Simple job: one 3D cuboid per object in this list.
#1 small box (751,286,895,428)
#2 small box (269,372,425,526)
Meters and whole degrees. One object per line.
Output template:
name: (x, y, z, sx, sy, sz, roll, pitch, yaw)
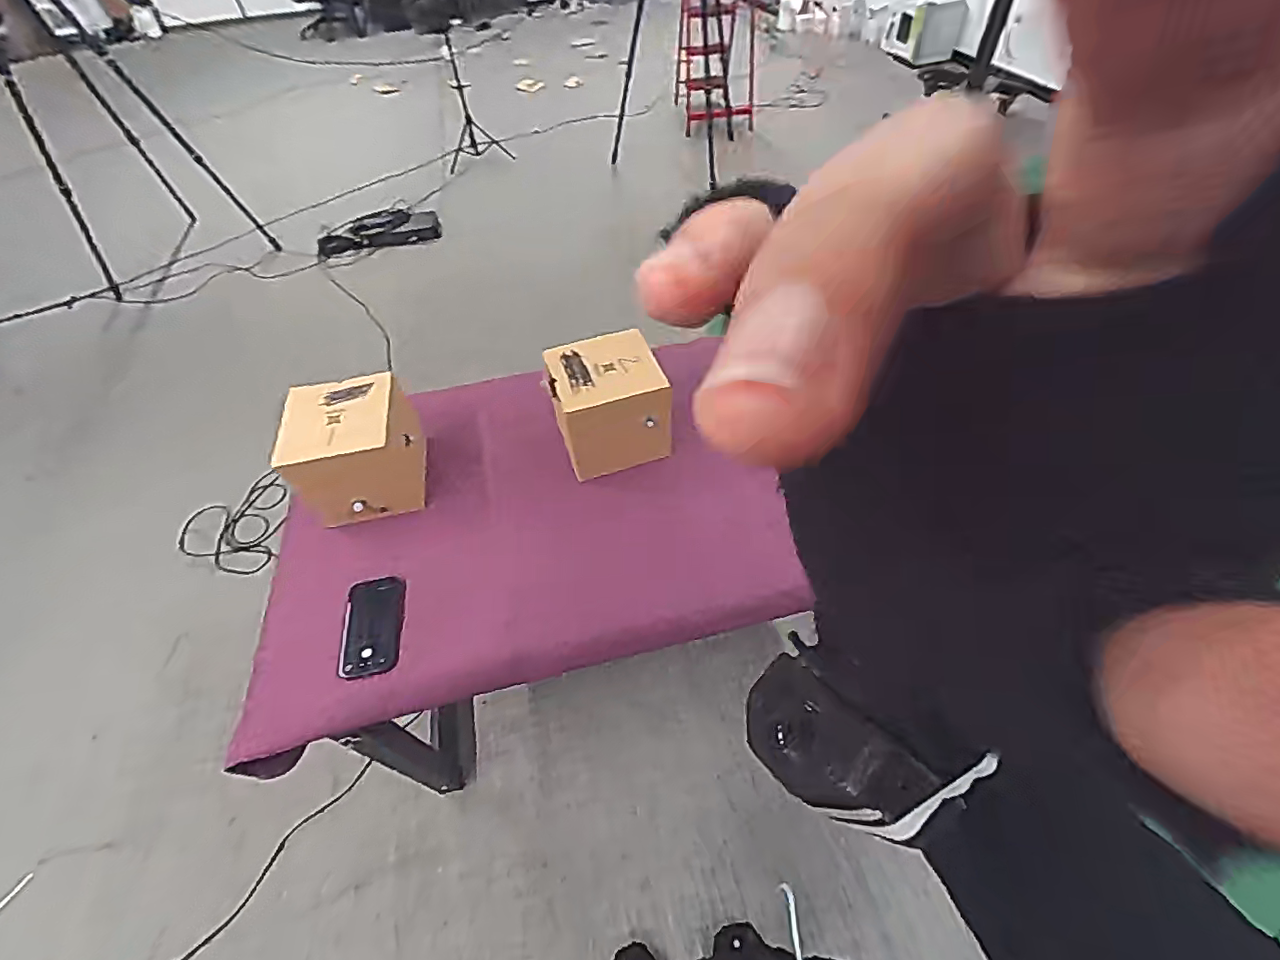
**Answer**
small box: (0.321, -0.216, 0.987, 0.168, 0.176, 0.179, -21, 53, -12)
small box: (-0.472, -0.050, 0.902, 0.168, 0.176, 0.179, -12, 53, -6)
